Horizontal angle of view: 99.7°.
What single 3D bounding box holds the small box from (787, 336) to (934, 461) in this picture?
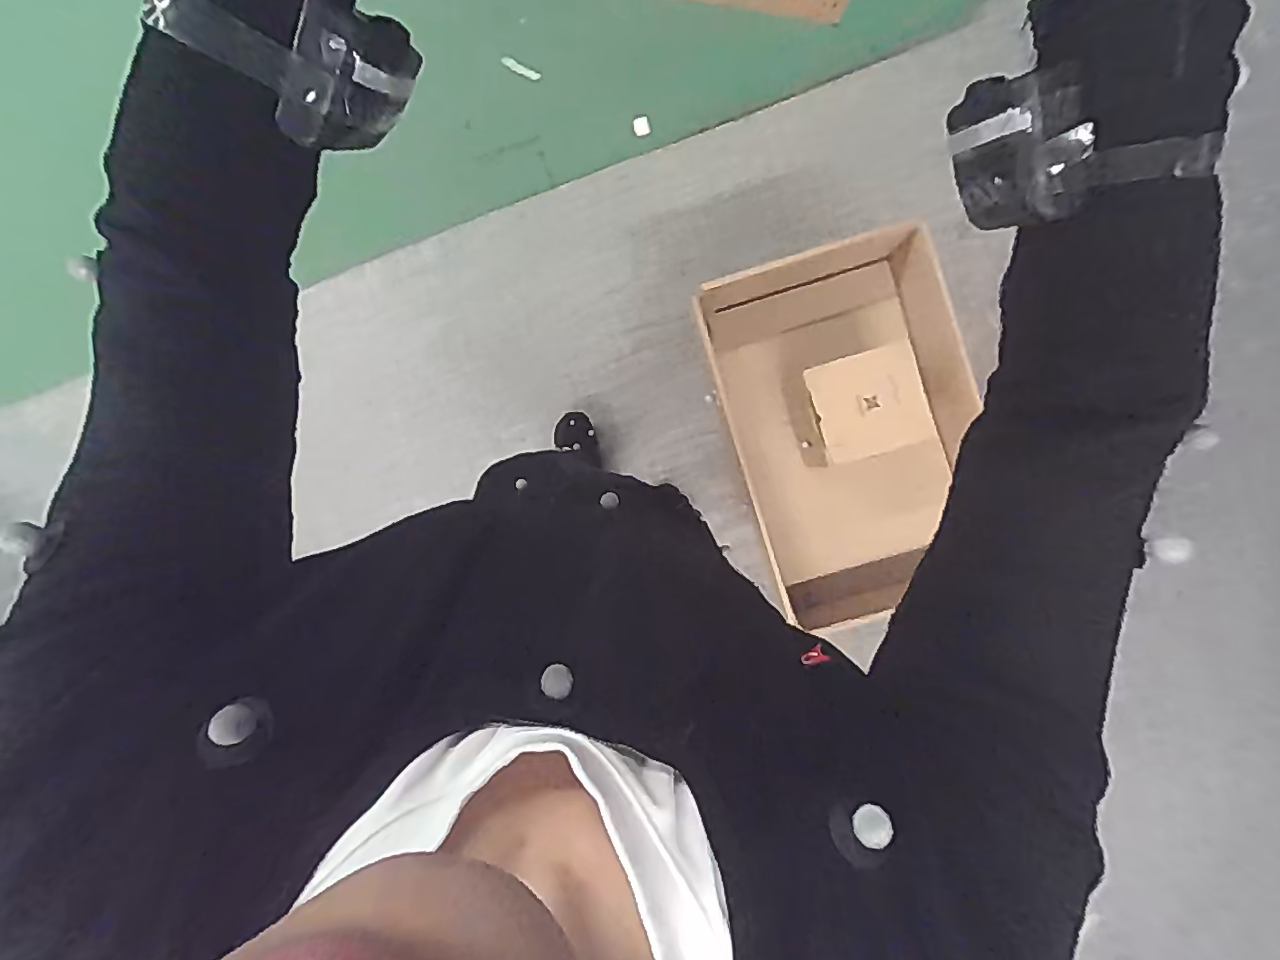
[{"bbox_3d":[0.369,-0.132,0.946,0.179,0.176,0.168,-17,92,2],"label":"small box"}]
